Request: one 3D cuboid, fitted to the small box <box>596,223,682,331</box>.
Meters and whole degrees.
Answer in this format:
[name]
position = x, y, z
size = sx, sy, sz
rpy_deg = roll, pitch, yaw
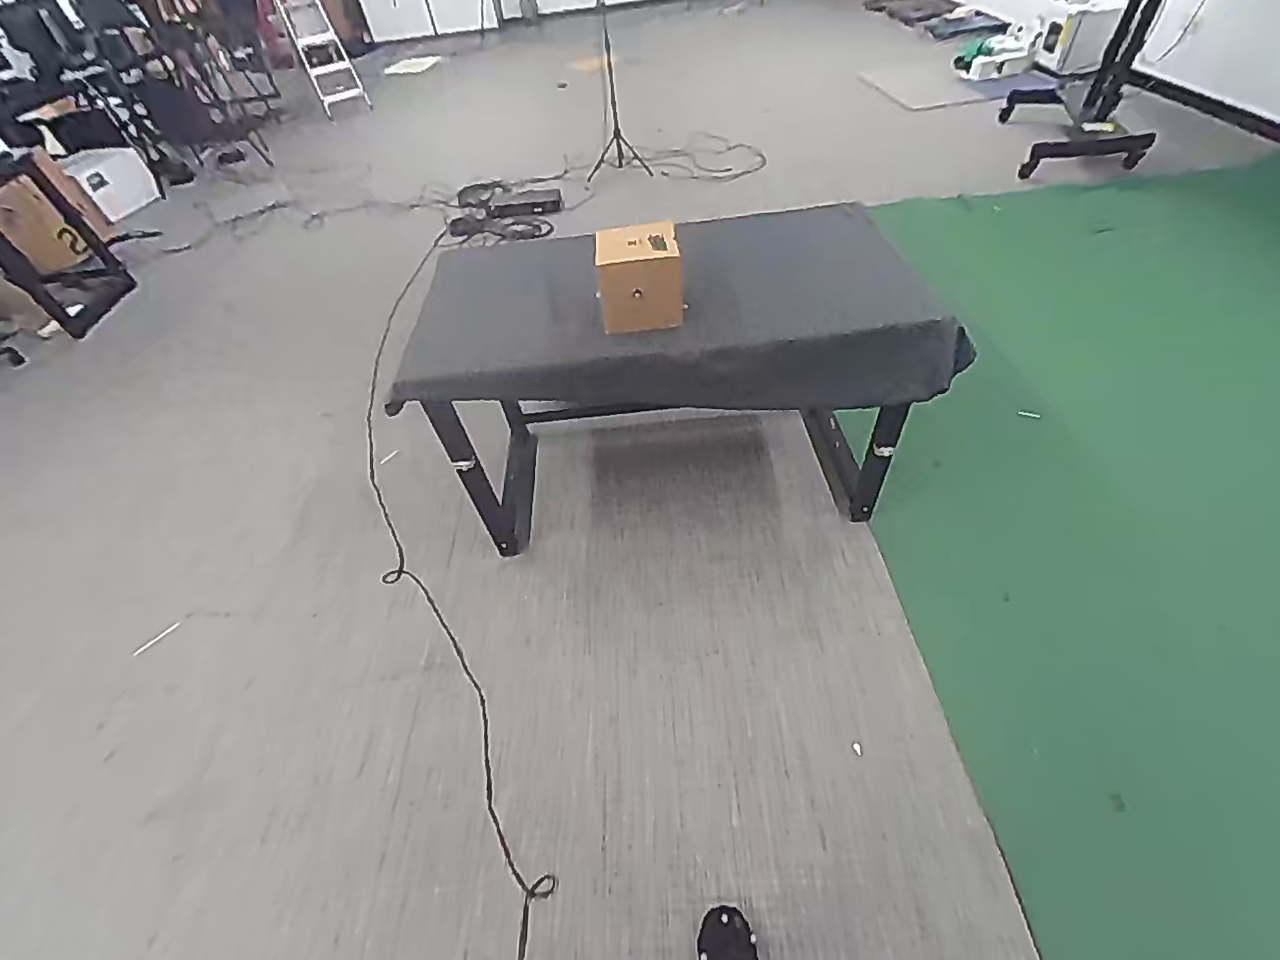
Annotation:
[small box]
position = 0.004, -0.453, 1.213
size = 0.179, 0.176, 0.168
rpy_deg = -3, 47, 5
